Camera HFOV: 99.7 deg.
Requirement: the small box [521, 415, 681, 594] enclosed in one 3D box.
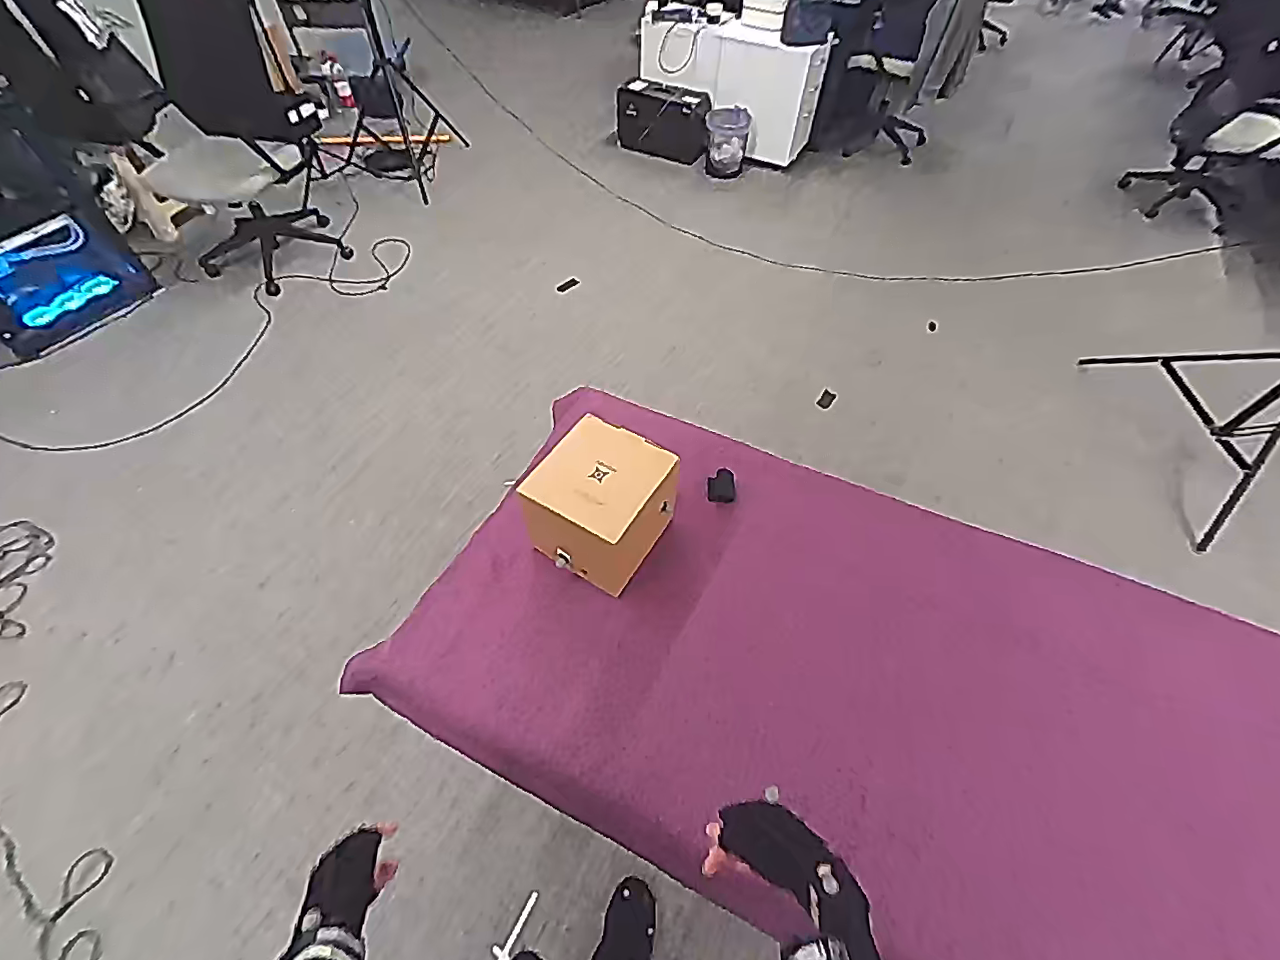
[{"bbox_3d":[-0.054,0.039,0.823,0.168,0.176,0.179,26,58,18],"label":"small box"}]
